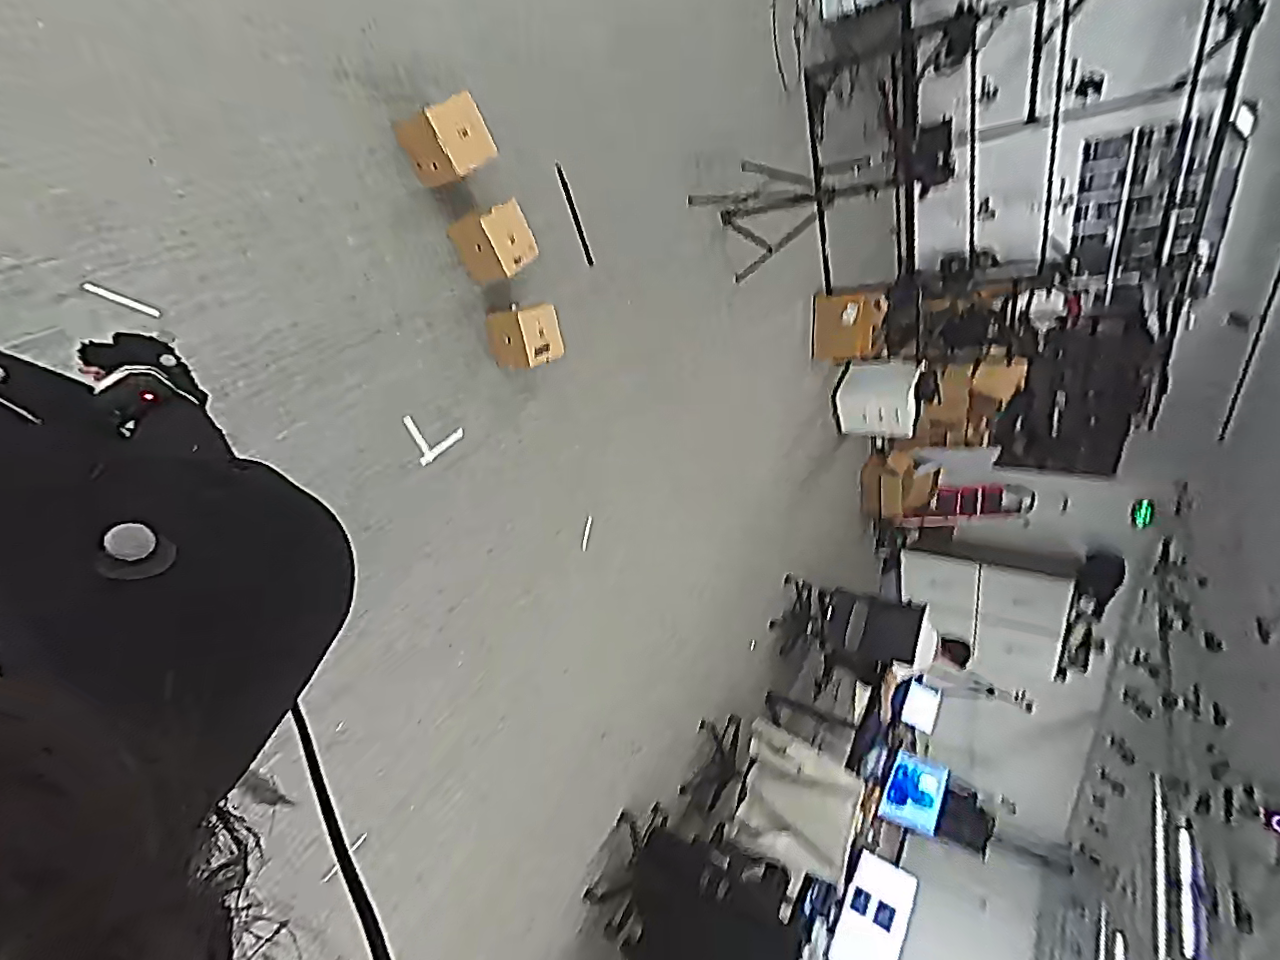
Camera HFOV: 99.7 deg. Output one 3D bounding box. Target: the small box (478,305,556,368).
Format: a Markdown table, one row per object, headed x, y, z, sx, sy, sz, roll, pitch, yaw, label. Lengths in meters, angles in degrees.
| x | y | z | sx | sy | sz | roll | pitch | yaw | label |
| --- | --- | --- | --- | --- | --- | --- | --- | --- | --- |
| -0.416 | -0.485 | 1.830 | 0.168 | 0.176 | 0.179 | -35 | 123 | -45 | small box |

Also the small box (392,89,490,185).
| x | y | z | sx | sy | sz | roll | pitch | yaw | label |
| --- | --- | --- | --- | --- | --- | --- | --- | --- | --- |
| -0.569 | -0.963 | 1.529 | 0.179 | 0.176 | 0.168 | -56 | 137 | -32 | small box |

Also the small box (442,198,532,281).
| x | y | z | sx | sy | sz | roll | pitch | yaw | label |
| --- | --- | --- | --- | --- | --- | --- | --- | --- | --- |
| -0.480 | -0.746 | 1.690 | 0.168 | 0.176 | 0.179 | -53 | 134 | -32 | small box |
